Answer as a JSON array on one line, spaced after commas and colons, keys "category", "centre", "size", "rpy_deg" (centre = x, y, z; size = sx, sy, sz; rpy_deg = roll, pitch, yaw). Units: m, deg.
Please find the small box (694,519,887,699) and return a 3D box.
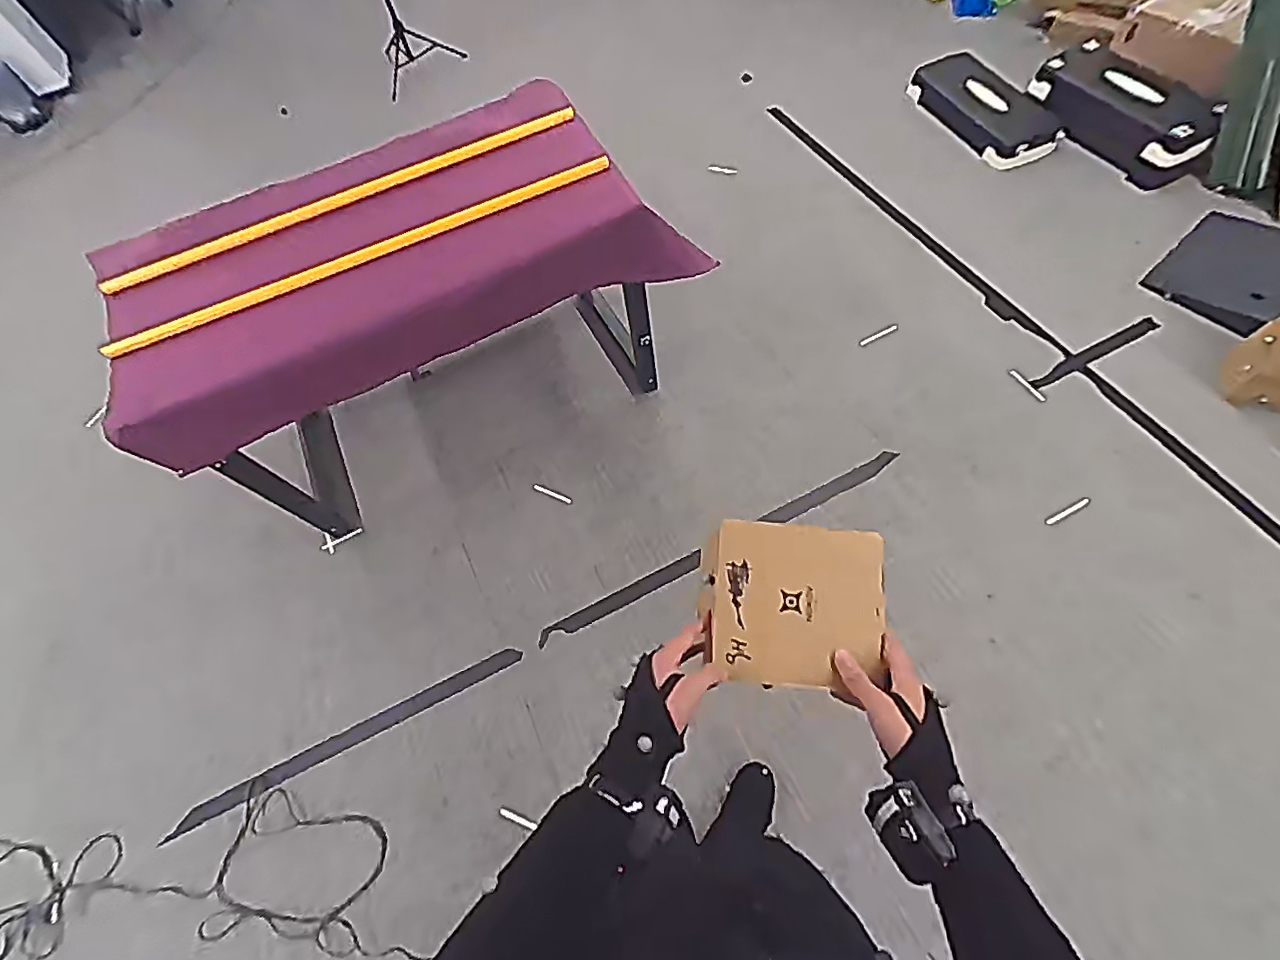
[{"category": "small box", "centre": [0.165, 0.146, 0.630], "size": [0.179, 0.176, 0.168], "rpy_deg": [6, 77, 1]}]
